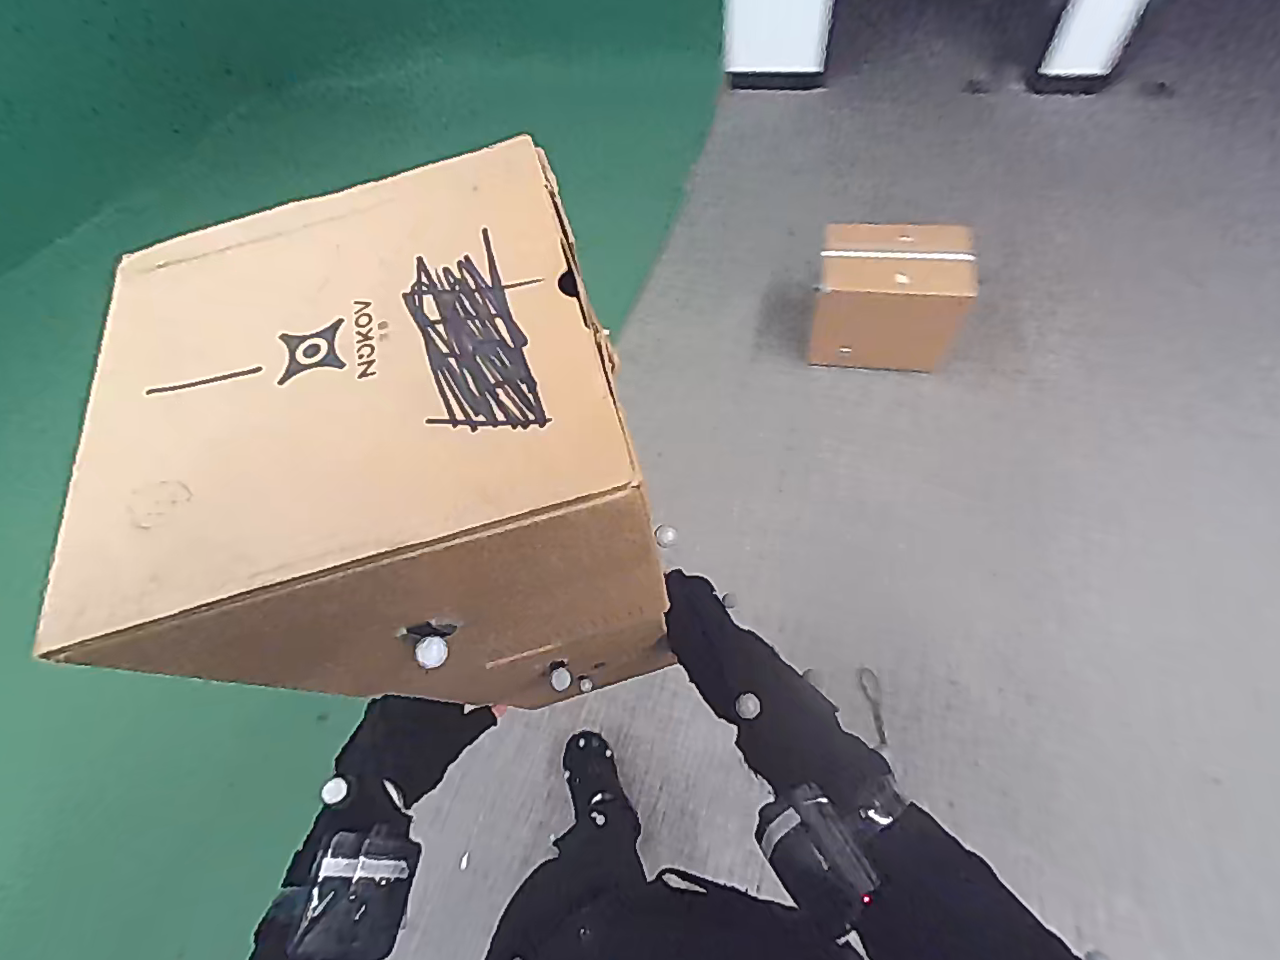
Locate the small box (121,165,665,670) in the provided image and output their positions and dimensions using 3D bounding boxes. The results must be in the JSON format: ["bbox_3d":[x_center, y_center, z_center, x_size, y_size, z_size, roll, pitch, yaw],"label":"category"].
[{"bbox_3d":[-0.088,-0.013,0.275,0.179,0.176,0.168,-15,64,0],"label":"small box"}]

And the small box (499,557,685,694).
[{"bbox_3d":[-0.057,0.118,0.576,0.179,0.176,0.168,-17,64,-3],"label":"small box"}]
